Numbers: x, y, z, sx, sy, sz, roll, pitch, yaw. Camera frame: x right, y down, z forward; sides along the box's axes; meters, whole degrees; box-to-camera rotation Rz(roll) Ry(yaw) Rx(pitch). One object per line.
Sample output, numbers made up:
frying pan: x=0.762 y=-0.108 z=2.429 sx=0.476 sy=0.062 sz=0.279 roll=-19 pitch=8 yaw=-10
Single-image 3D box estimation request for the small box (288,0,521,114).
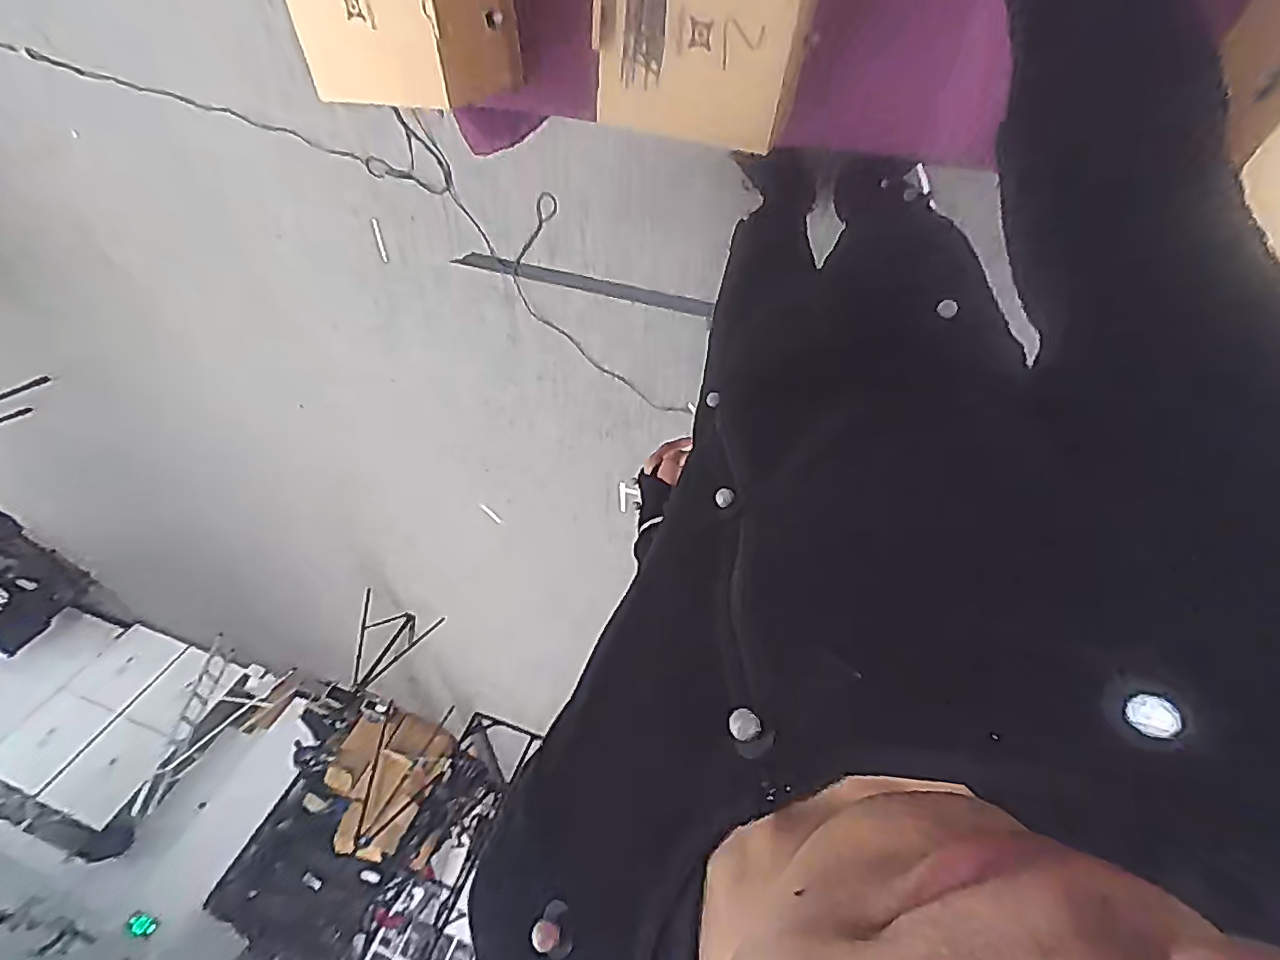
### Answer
small box: x=-0.256 y=-0.520 z=0.597 sx=0.179 sy=0.176 sz=0.168 roll=12 pitch=135 yaw=13
